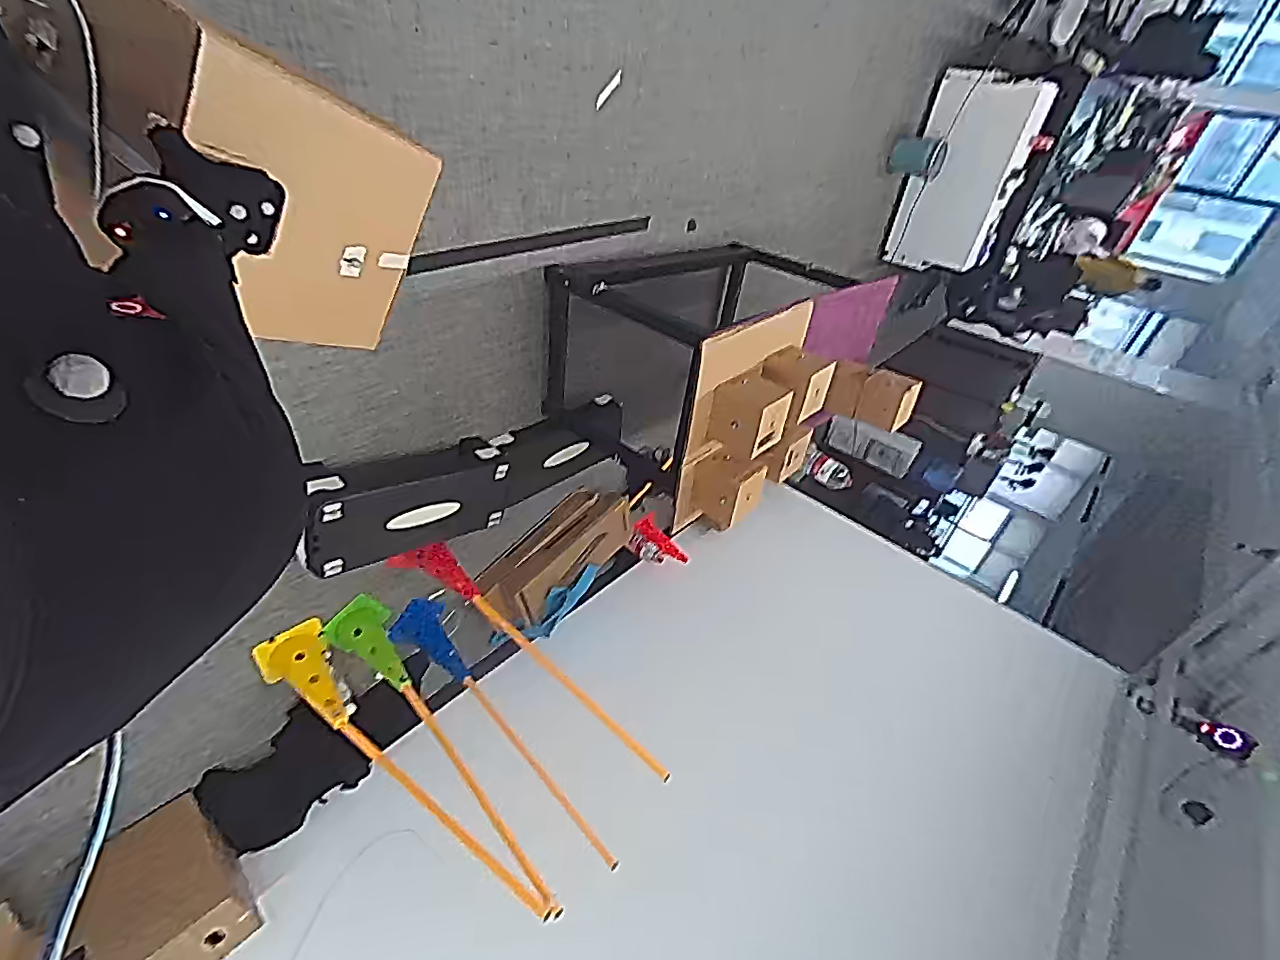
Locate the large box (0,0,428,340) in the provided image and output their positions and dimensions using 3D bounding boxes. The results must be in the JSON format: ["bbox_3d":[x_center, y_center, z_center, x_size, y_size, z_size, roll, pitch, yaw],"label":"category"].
[{"bbox_3d":[-0.580,-0.434,0.750,0.320,0.408,0.320,-59,163,20],"label":"large box"}]
